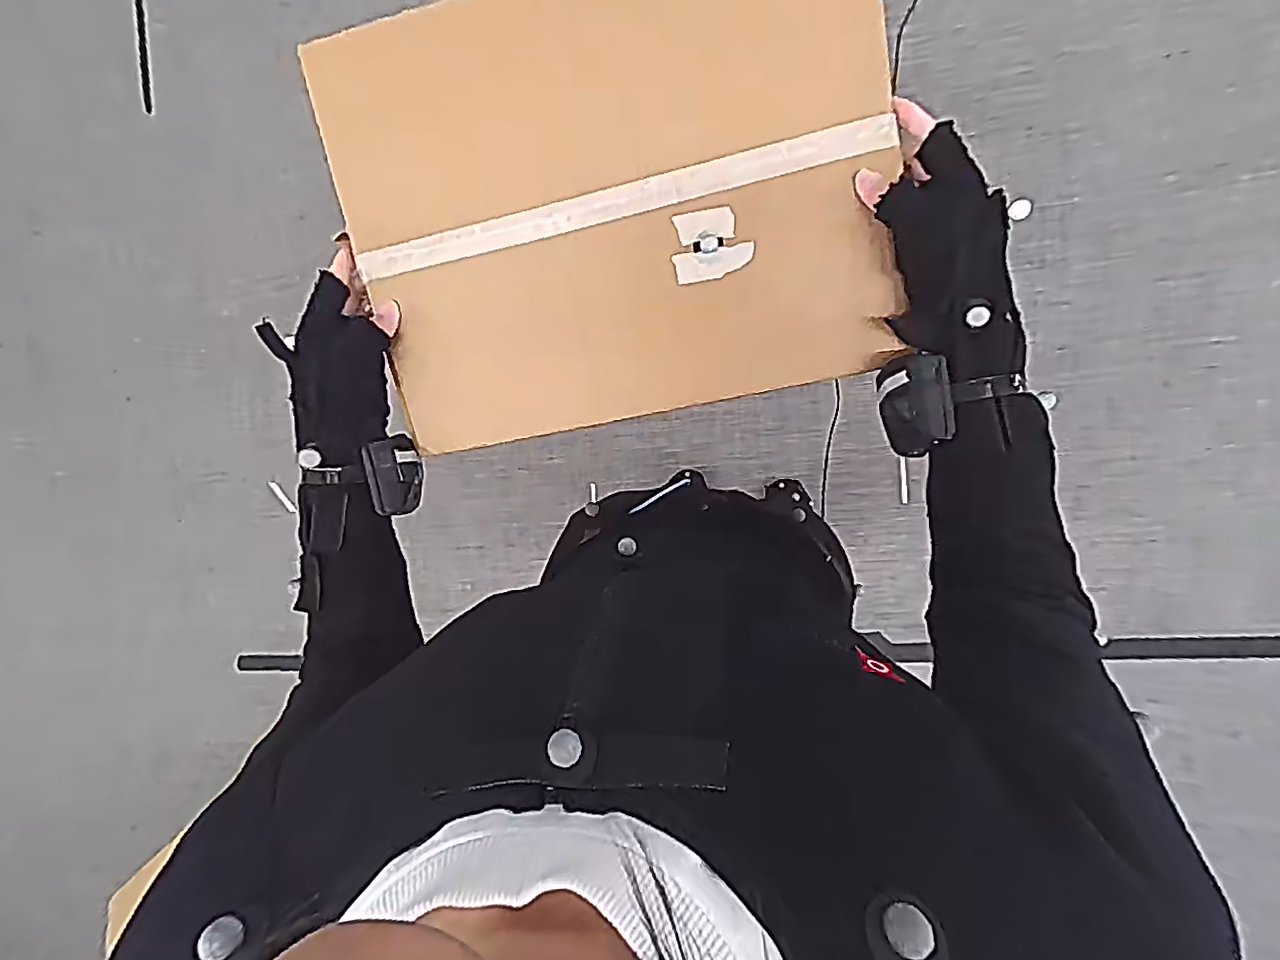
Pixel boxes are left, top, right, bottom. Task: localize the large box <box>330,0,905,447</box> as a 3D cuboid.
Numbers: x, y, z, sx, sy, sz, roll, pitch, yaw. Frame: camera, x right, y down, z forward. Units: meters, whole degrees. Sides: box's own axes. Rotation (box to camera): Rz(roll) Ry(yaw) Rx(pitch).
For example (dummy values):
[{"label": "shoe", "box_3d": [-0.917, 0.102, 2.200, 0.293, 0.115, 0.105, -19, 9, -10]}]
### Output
[{"label": "large box", "box_3d": [-0.005, -0.241, 0.559, 0.408, 0.320, 0.320, -10, 102, 8]}]
